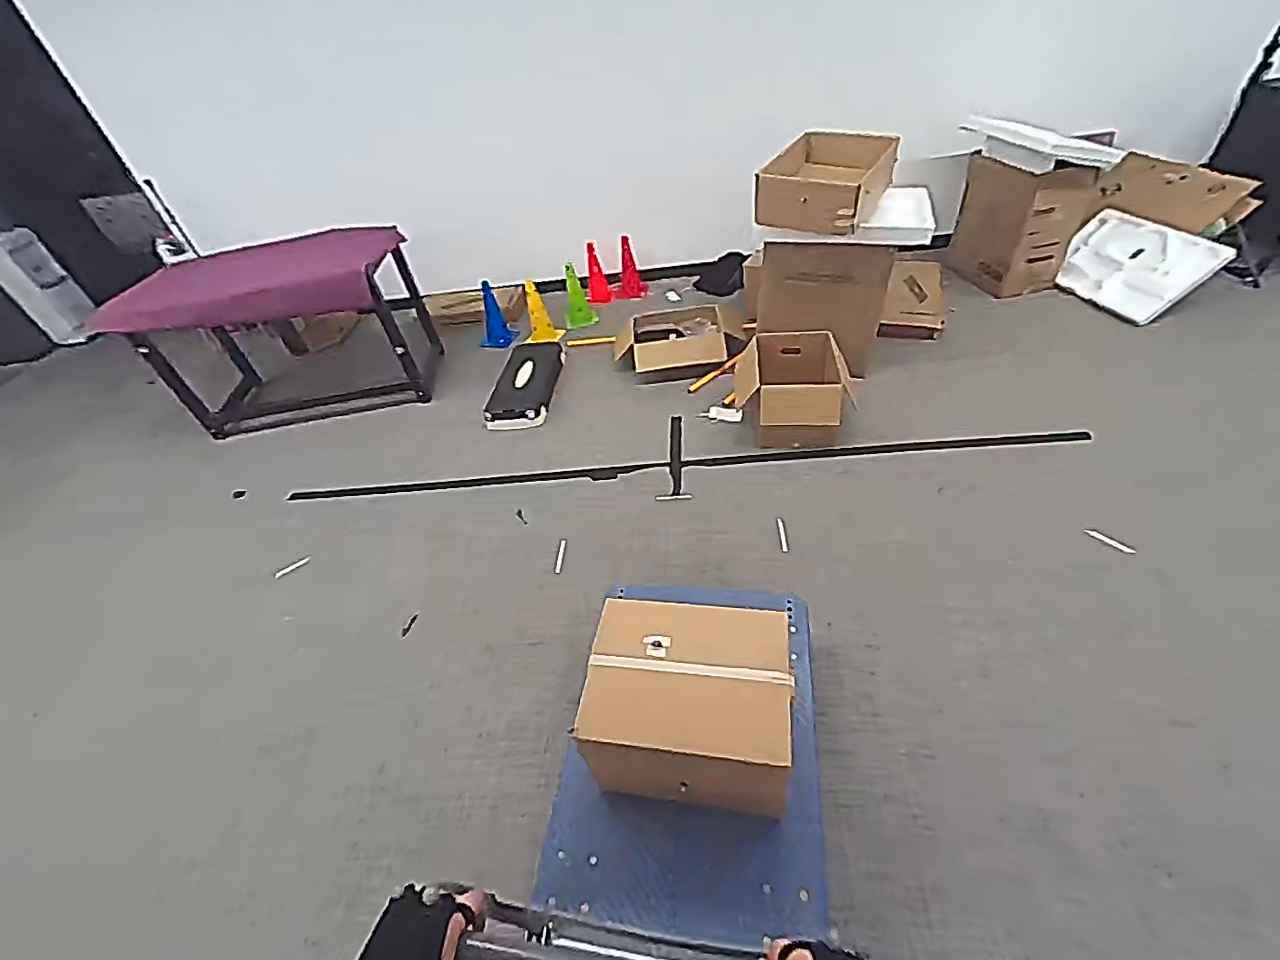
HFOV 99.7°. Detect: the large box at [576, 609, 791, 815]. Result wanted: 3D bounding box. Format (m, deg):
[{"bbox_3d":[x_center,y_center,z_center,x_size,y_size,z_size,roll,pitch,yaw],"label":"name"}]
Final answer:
[{"bbox_3d":[0.117,0.509,1.198,0.408,0.320,0.320,0,43,13],"label":"large box"}]
